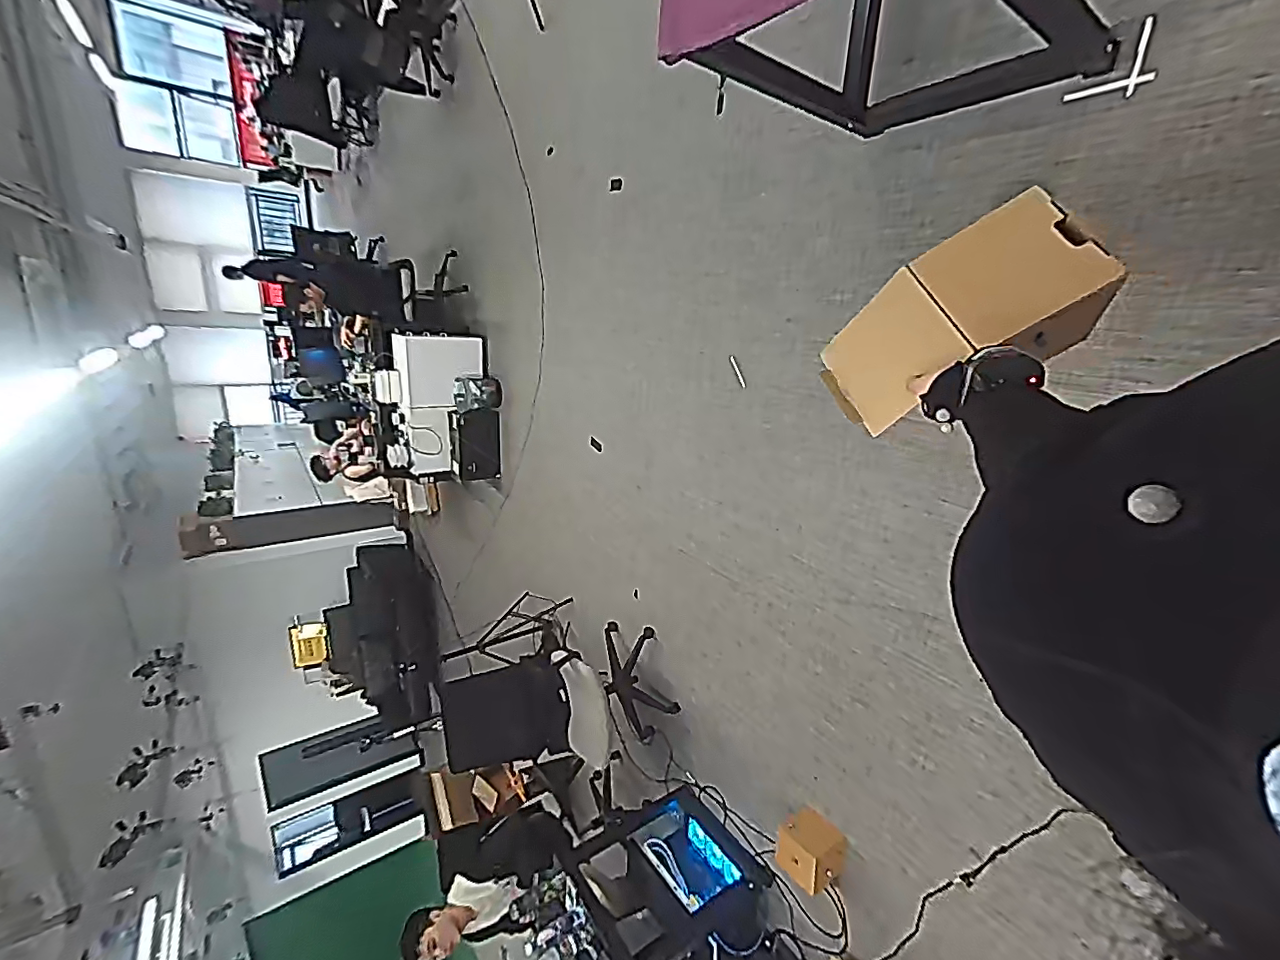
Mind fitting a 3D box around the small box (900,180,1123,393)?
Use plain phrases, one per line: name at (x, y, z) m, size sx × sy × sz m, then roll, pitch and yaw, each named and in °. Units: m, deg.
small box at (0.480, -0.245, 0.732) m, size 0.179 × 0.176 × 0.168 m, roll -31°, pitch 66°, yaw 16°
